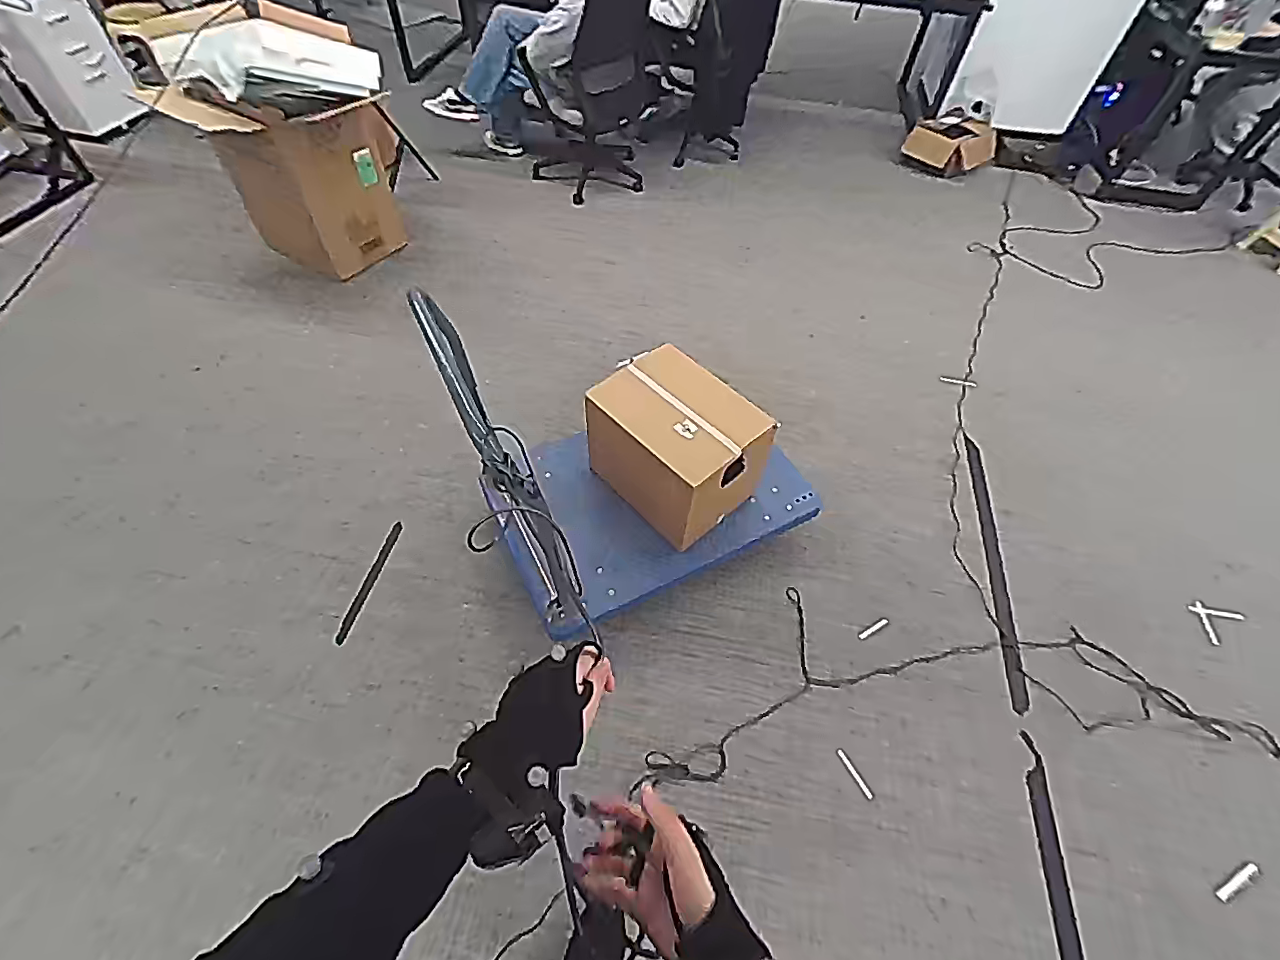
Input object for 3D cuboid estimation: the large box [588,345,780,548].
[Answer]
[{"bbox_3d":[0.099,-0.094,1.490,0.320,0.320,0.408,-36,64,-24],"label":"large box"}]
